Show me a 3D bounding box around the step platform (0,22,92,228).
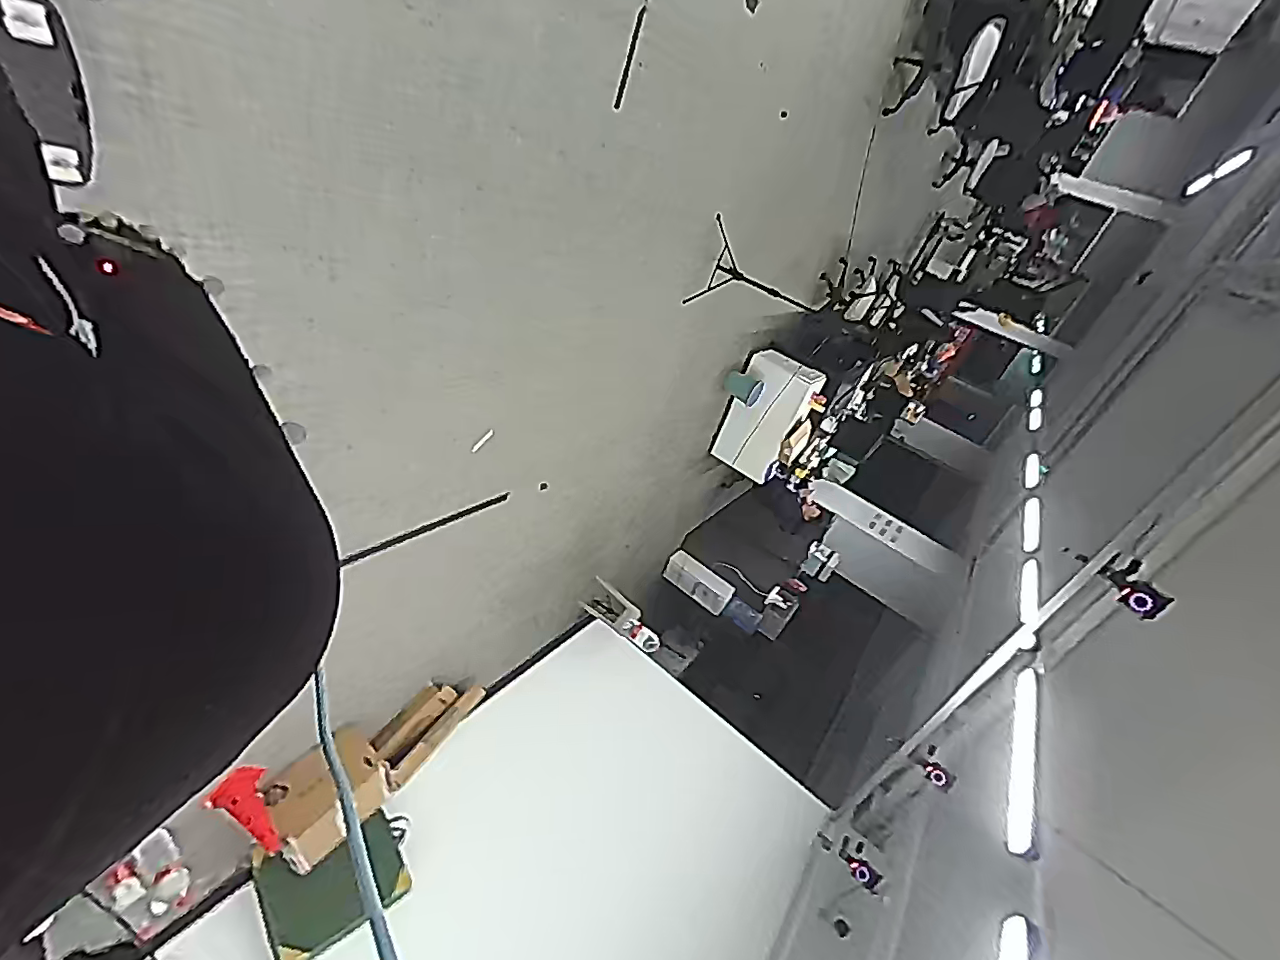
[{"bbox_3d":[-1.192,-0.540,0.695,0.684,0.204,0.286,-20,137,-54],"label":"step platform"}]
